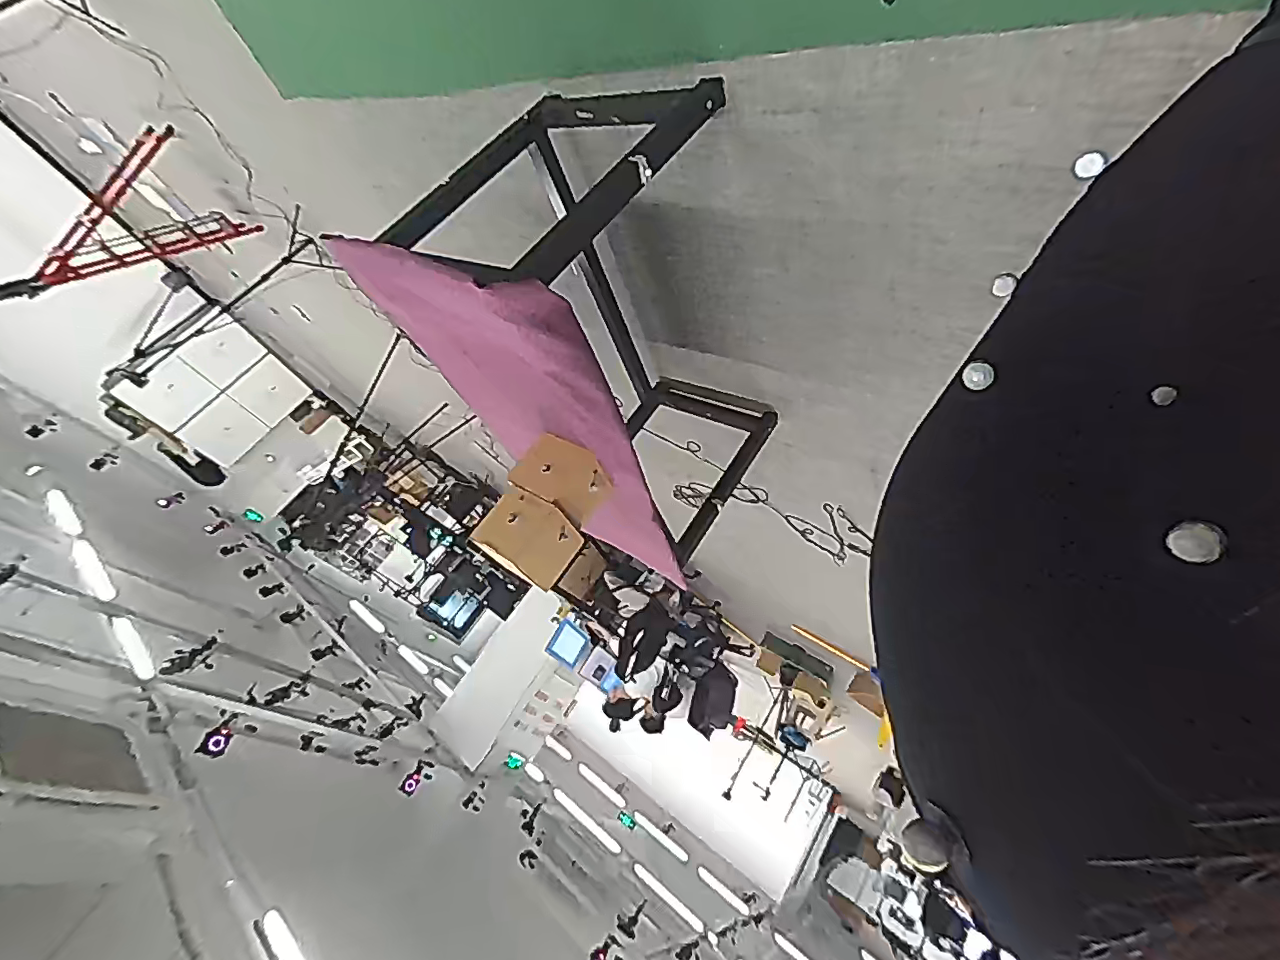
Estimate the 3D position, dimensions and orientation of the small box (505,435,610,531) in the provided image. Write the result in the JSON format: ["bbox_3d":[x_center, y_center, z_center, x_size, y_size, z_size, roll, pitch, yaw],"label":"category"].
[{"bbox_3d":[-0.209,0.007,1.407,0.179,0.176,0.168,24,157,32],"label":"small box"}]

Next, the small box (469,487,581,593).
[{"bbox_3d":[-0.278,0.144,1.343,0.168,0.176,0.179,22,156,35],"label":"small box"}]
